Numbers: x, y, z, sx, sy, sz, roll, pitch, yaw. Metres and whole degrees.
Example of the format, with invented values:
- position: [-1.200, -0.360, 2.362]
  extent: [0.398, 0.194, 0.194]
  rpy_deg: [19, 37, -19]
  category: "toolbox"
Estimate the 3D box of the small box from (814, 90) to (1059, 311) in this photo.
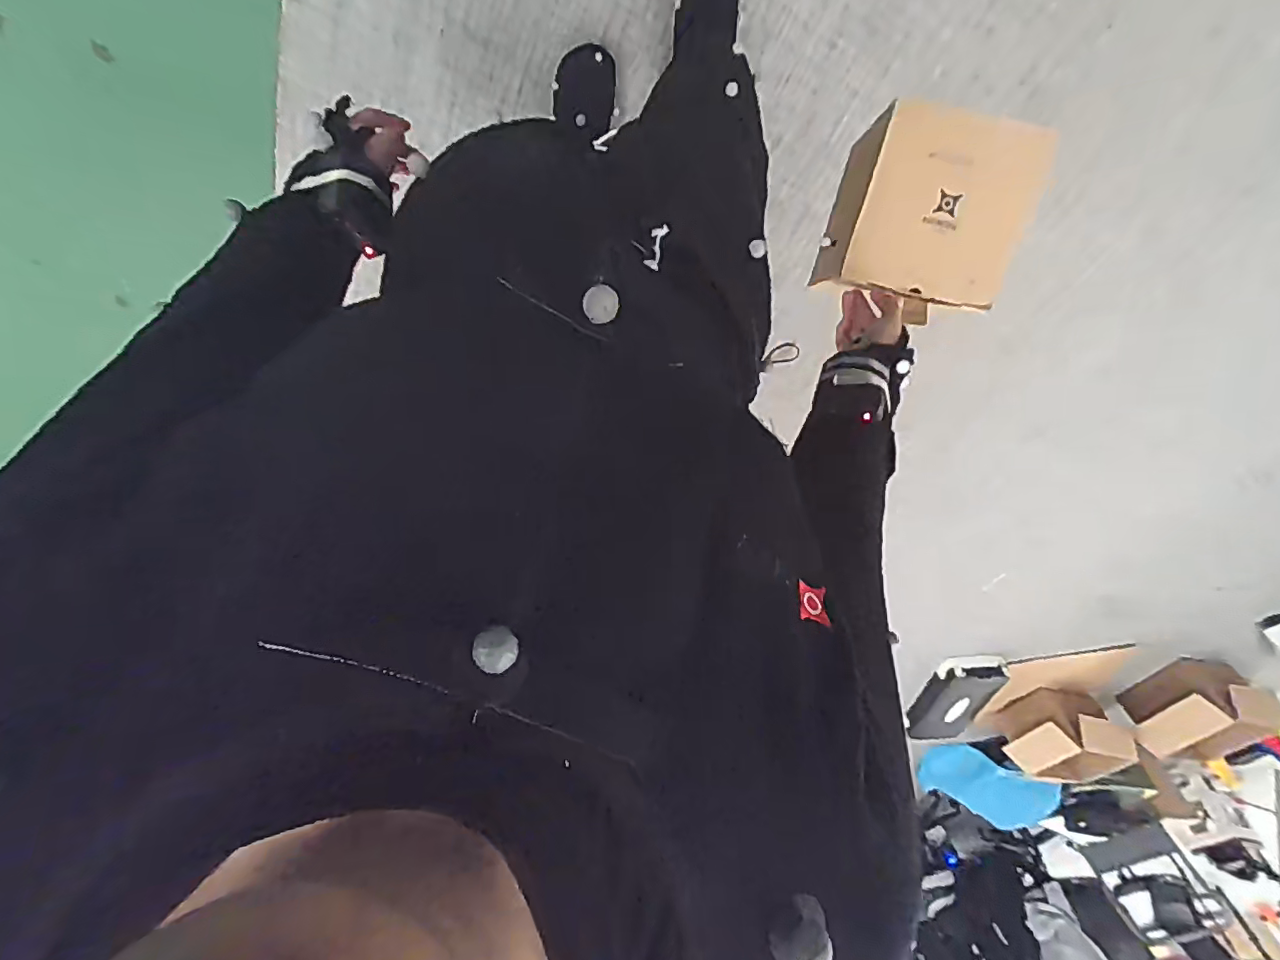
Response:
- position: [0.314, -0.300, 0.621]
  extent: [0.168, 0.176, 0.179]
  rpy_deg: [12, 105, 1]
  category: "small box"
